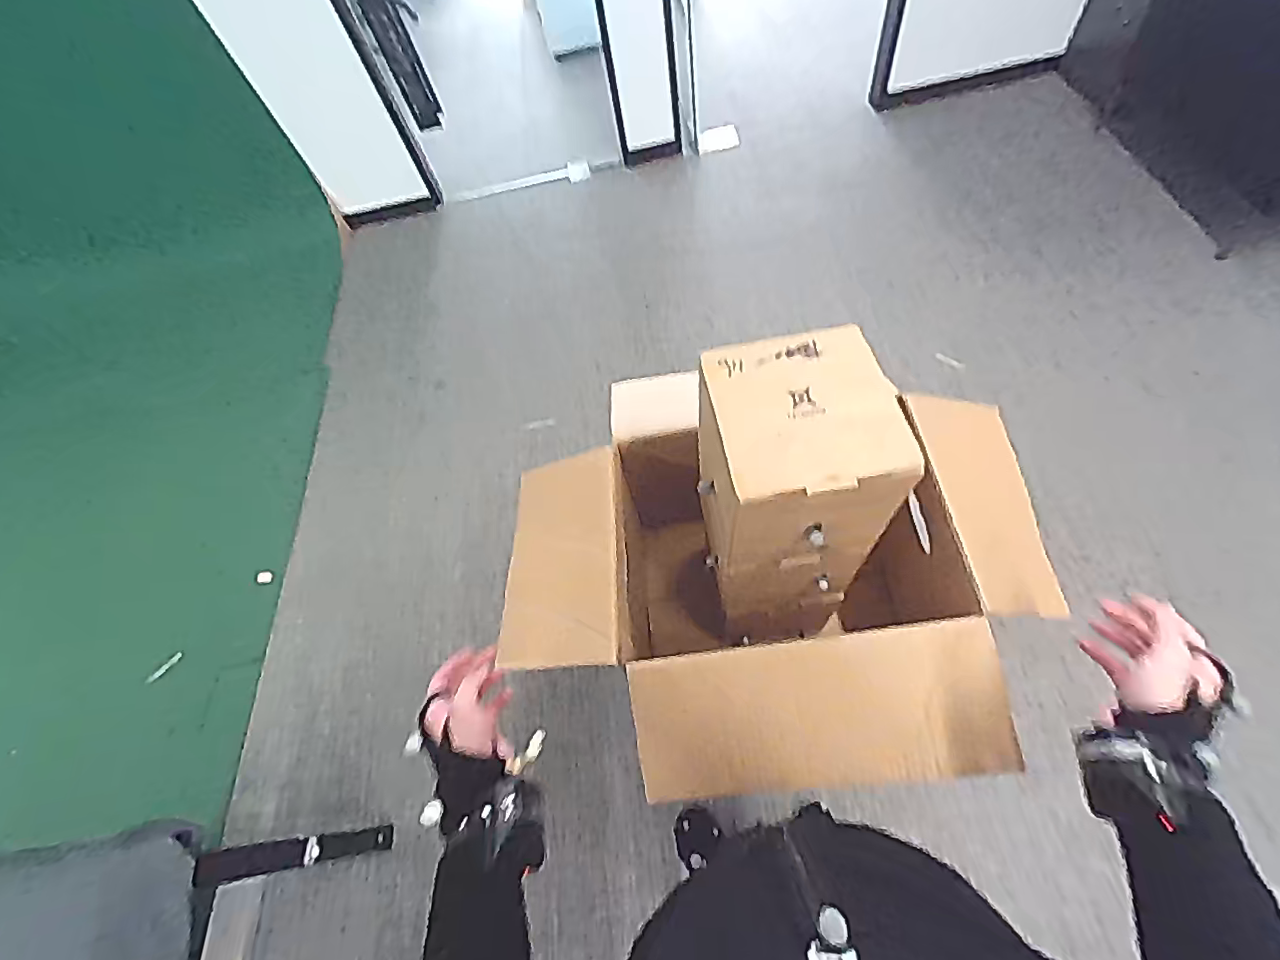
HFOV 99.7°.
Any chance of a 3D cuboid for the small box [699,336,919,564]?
[{"bbox_3d":[0.159,-0.020,0.576,0.168,0.176,0.179,-9,60,0],"label":"small box"}]
